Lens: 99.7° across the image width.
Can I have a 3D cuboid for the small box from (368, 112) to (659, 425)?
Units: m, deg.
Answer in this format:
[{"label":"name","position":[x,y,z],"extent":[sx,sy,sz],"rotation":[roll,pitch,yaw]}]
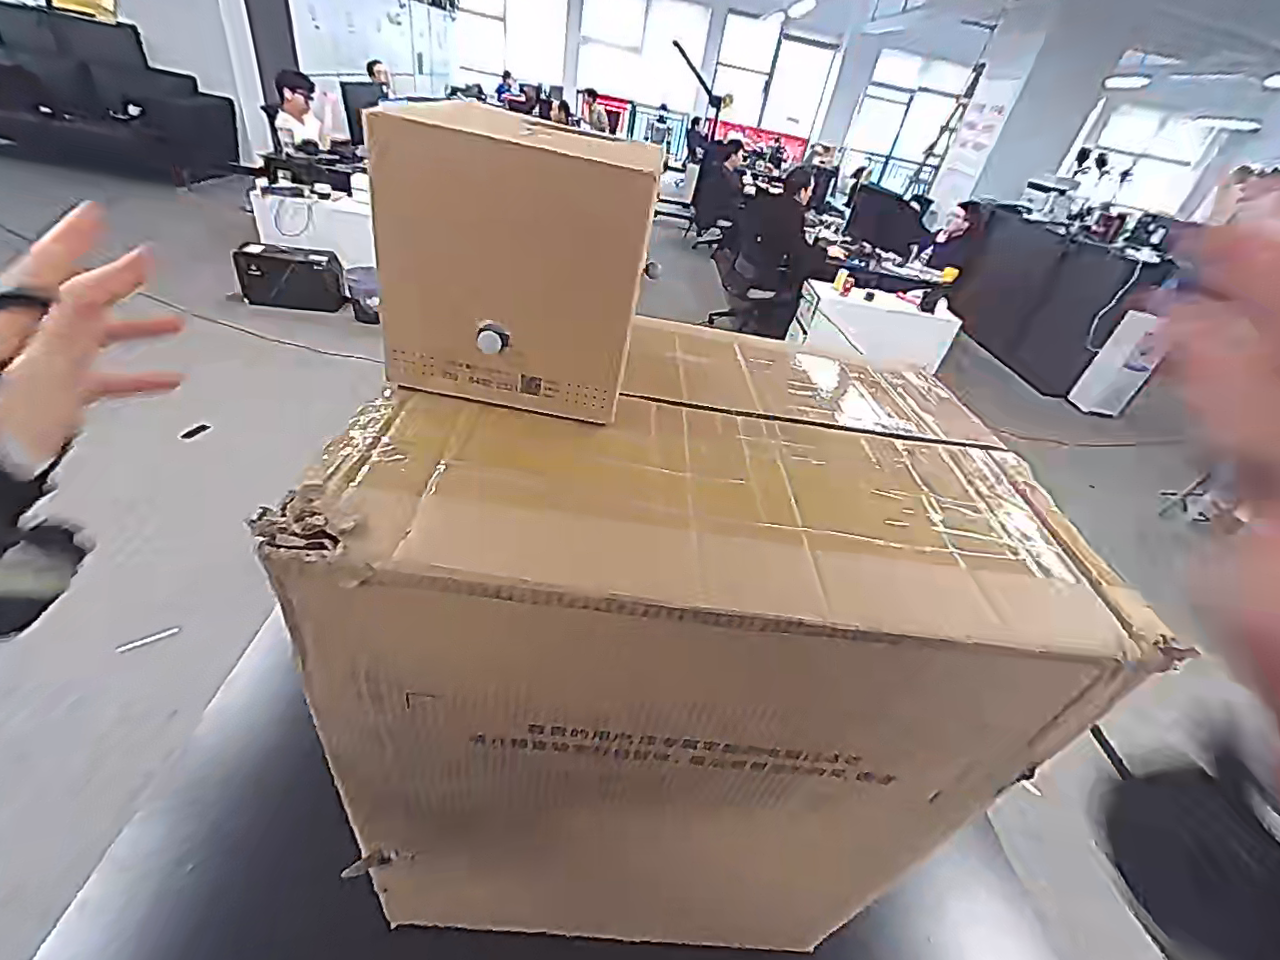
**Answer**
[{"label":"small box","position":[-0.083,-0.166,0.418],"extent":[0.168,0.176,0.179],"rotation":[10,36,-3]}]
